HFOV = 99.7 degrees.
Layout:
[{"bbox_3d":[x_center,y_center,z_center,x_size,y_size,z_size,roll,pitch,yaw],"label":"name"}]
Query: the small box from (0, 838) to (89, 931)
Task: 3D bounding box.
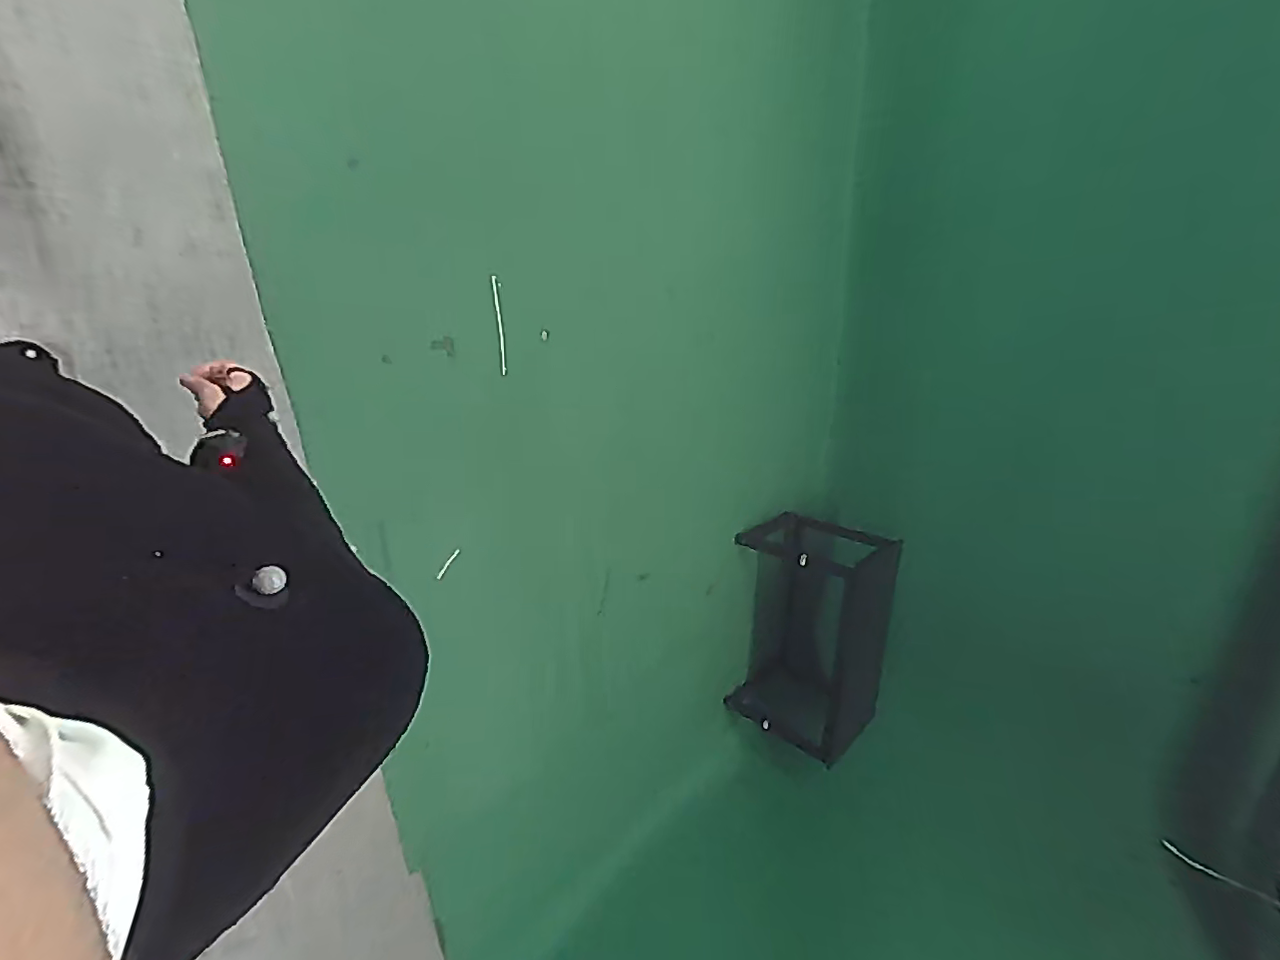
[{"bbox_3d":[-1.351,0.938,1.177,0.168,0.176,0.179,-28,122,-39],"label":"small box"}]
